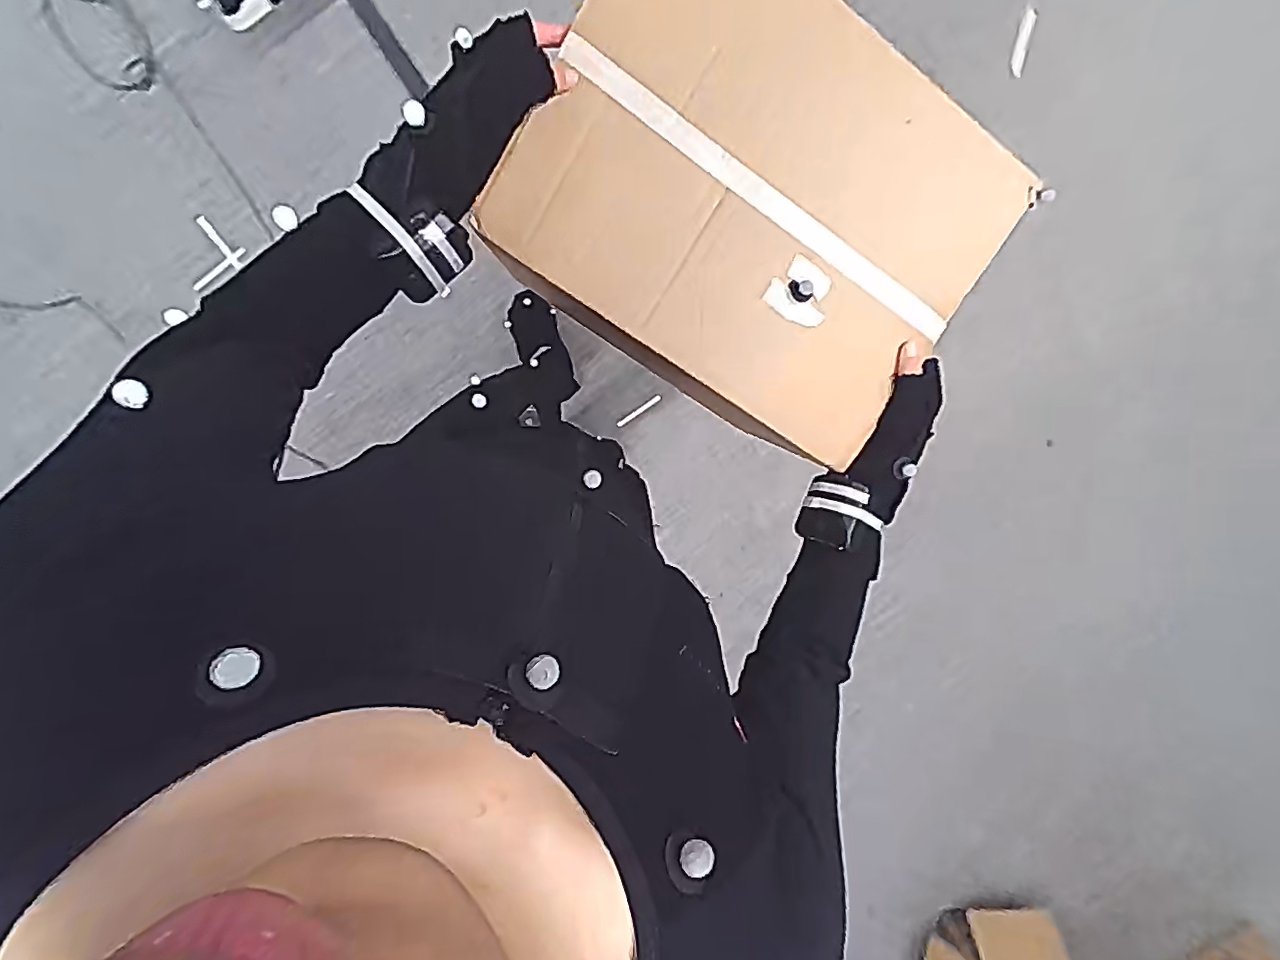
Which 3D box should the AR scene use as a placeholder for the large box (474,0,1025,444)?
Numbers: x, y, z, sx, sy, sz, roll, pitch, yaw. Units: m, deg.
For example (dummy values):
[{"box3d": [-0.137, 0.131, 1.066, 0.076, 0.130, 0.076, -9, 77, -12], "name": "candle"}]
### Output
[{"box3d": [0.087, -0.287, 0.612, 0.408, 0.320, 0.320, 30, 99, -12], "name": "large box"}]
